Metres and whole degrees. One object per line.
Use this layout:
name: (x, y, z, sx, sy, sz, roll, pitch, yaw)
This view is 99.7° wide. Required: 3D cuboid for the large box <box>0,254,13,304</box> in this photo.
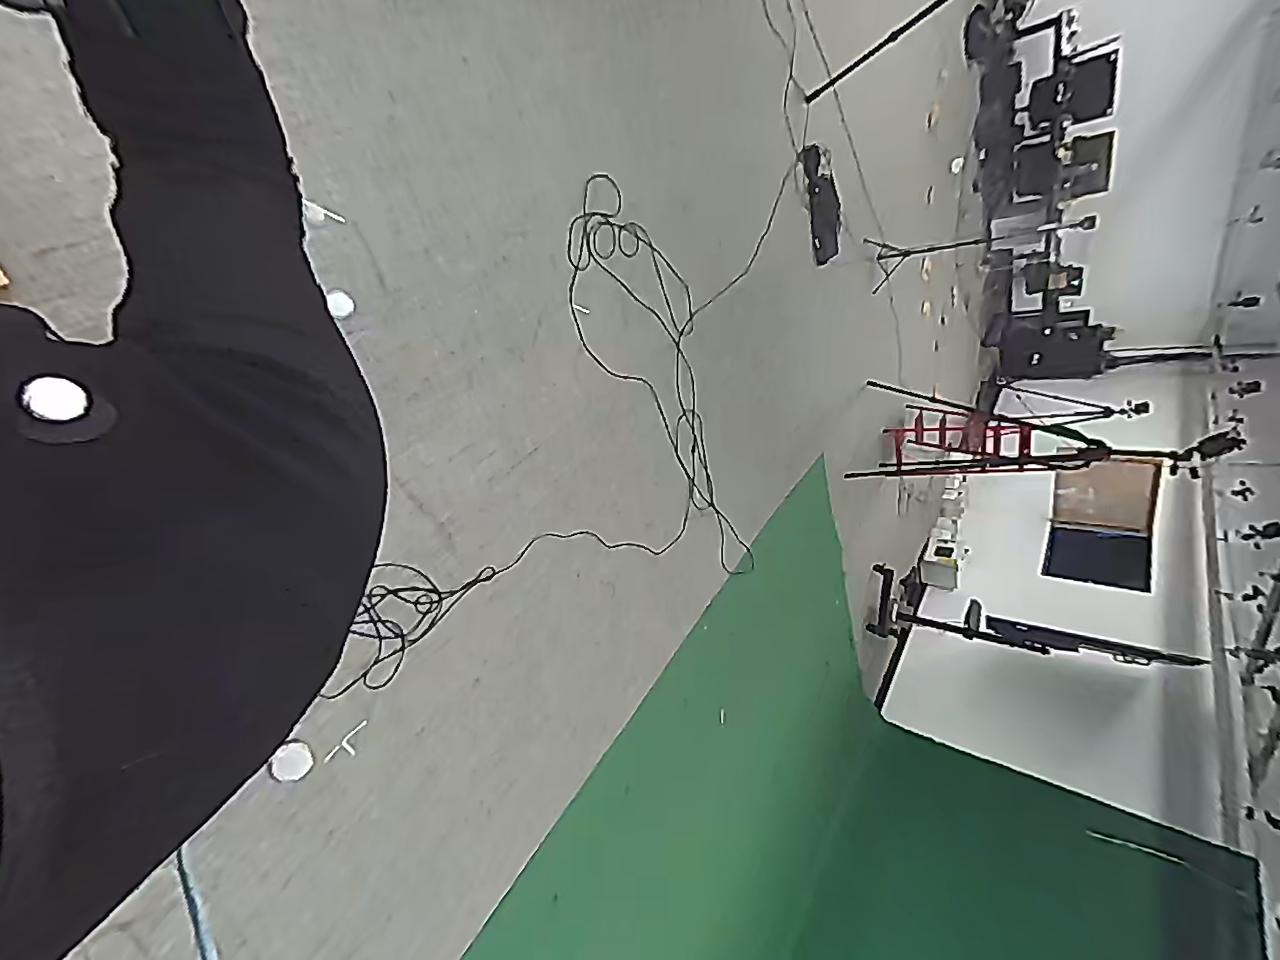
large box: (-1.184, -0.328, 0.695, 0.408, 0.320, 0.320, -43, 126, -36)
